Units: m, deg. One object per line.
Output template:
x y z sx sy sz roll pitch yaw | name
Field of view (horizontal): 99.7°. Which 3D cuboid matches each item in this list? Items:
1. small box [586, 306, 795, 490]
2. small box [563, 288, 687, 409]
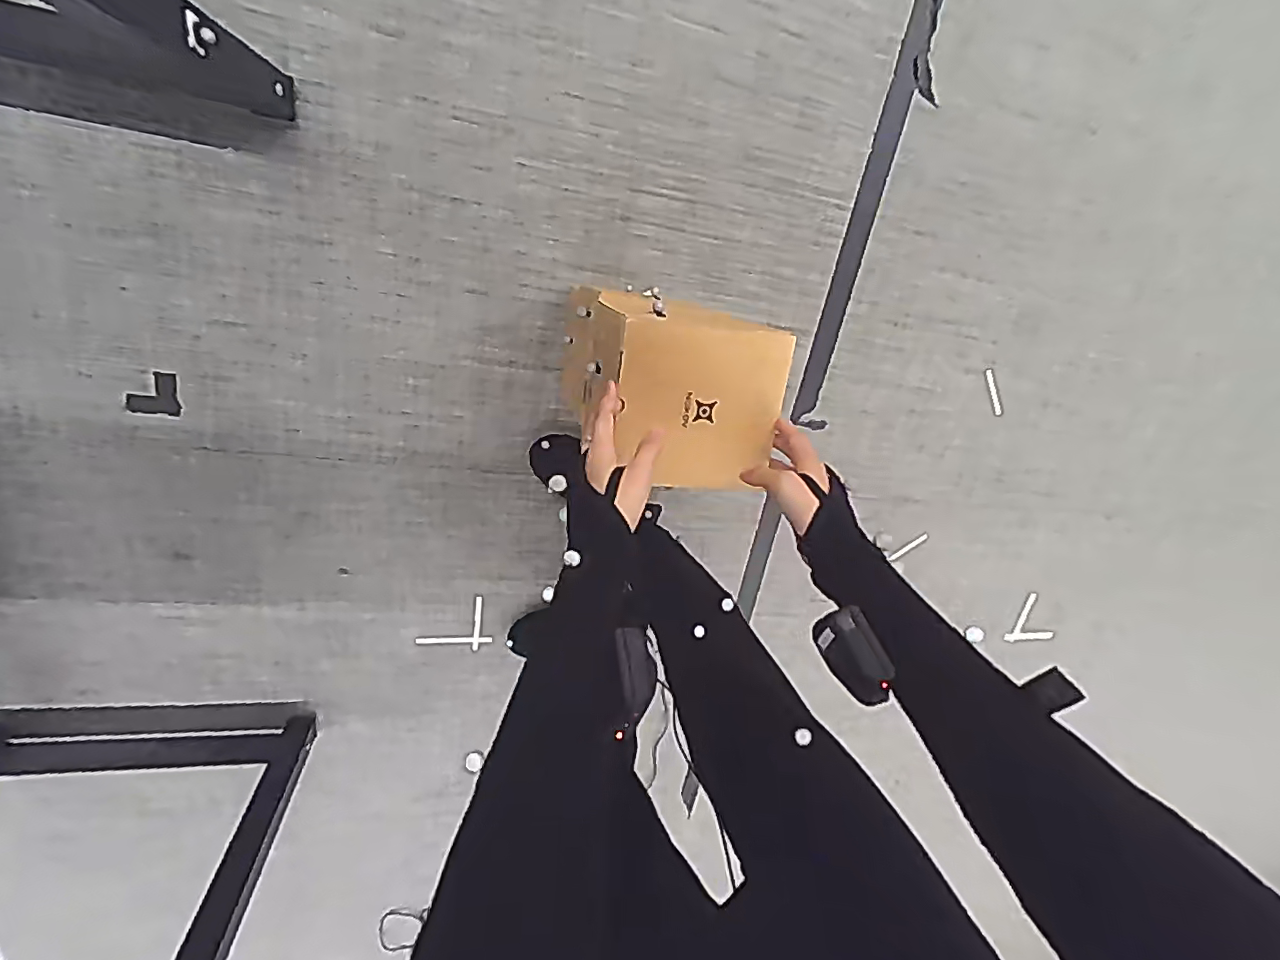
0.041 -0.098 0.604 0.179 0.176 0.168 1 112 -14 | small box
-0.035 -0.217 0.899 0.168 0.176 0.179 3 112 -14 | small box
